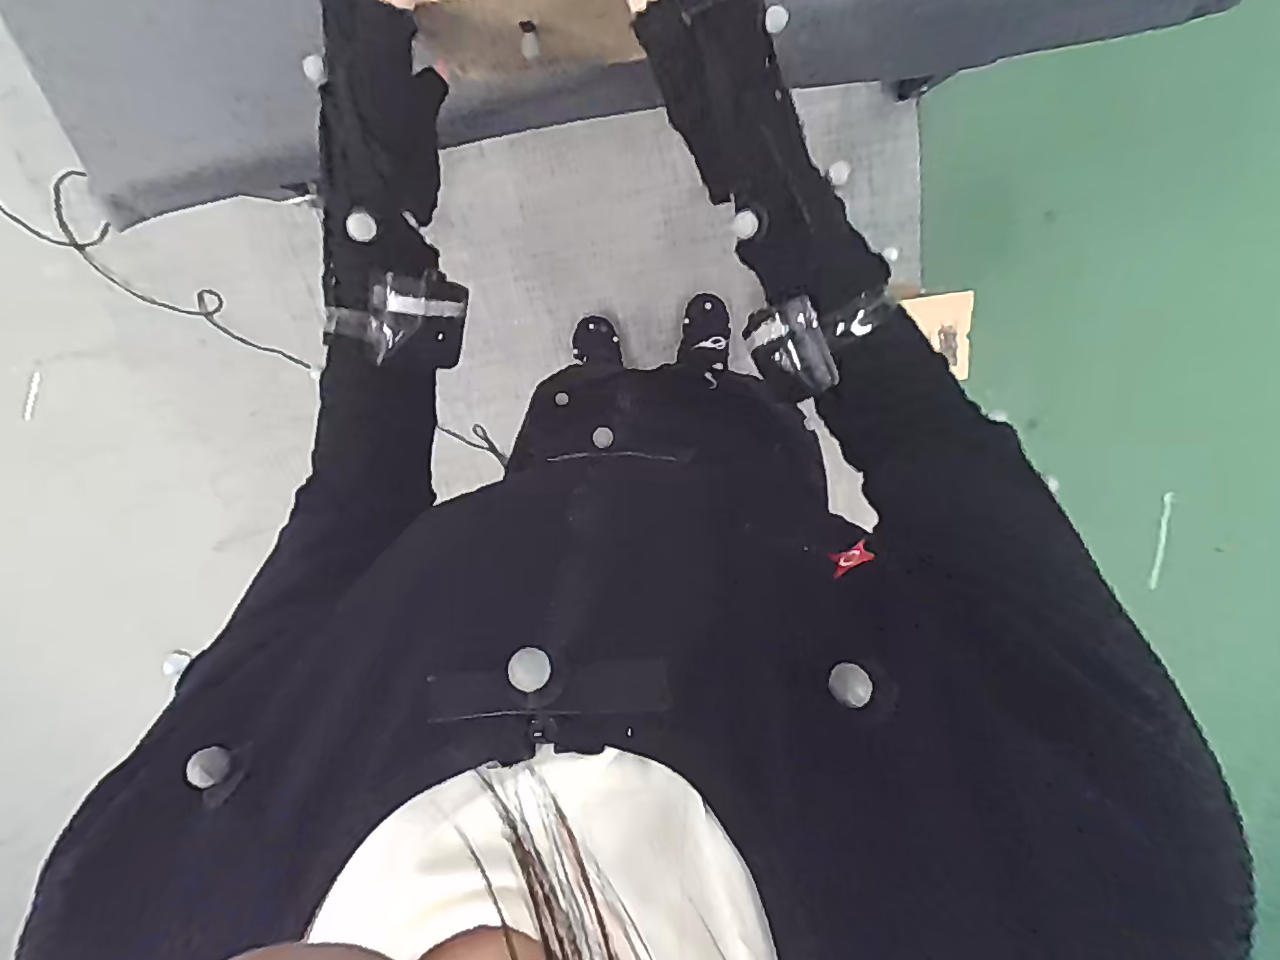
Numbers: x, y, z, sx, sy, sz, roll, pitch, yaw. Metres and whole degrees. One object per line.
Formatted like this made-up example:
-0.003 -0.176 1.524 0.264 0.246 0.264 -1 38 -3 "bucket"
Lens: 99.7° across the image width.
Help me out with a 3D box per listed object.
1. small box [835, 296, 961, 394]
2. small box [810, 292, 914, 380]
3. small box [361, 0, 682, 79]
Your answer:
0.517 -0.281 1.105 0.179 0.176 0.168 -6 110 2 "small box"
0.510 -0.340 1.258 0.179 0.176 0.168 -8 110 3 "small box"
-0.065 -0.364 0.323 0.179 0.176 0.168 -3 115 5 "small box"
